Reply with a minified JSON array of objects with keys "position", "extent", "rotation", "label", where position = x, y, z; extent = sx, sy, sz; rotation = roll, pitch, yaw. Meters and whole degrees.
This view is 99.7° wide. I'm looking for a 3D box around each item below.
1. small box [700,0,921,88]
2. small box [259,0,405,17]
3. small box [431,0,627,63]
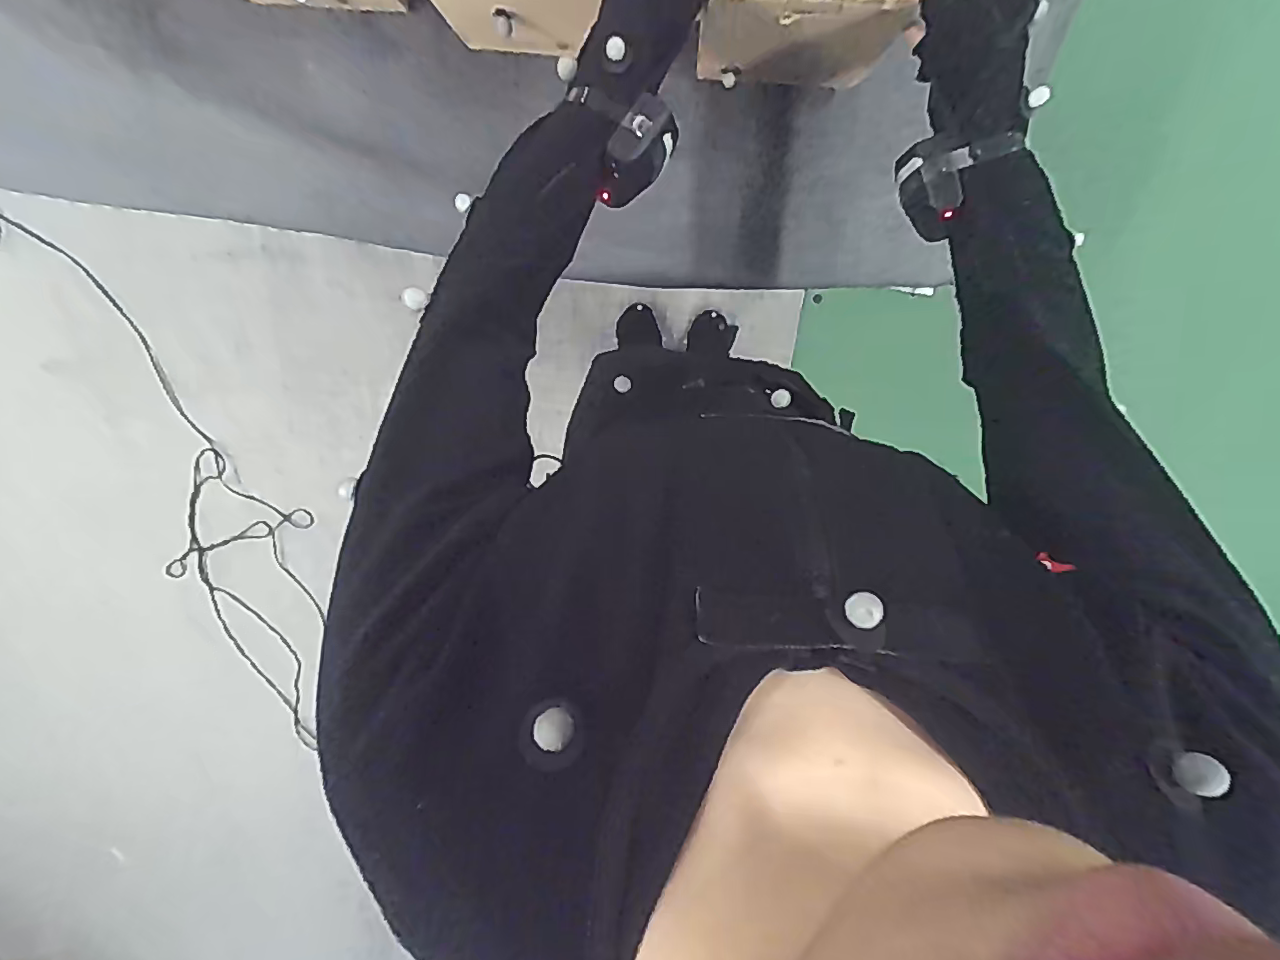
[{"position":[0.142,-0.464,0.459],"extent":[0.168,0.176,0.179],"rotation":[5,107,2],"label":"small box"},{"position":[-0.314,-0.537,0.450],"extent":[0.168,0.176,0.179],"rotation":[4,110,0],"label":"small box"},{"position":[-0.095,-0.494,0.465],"extent":[0.168,0.176,0.179],"rotation":[4,110,-1],"label":"small box"}]
